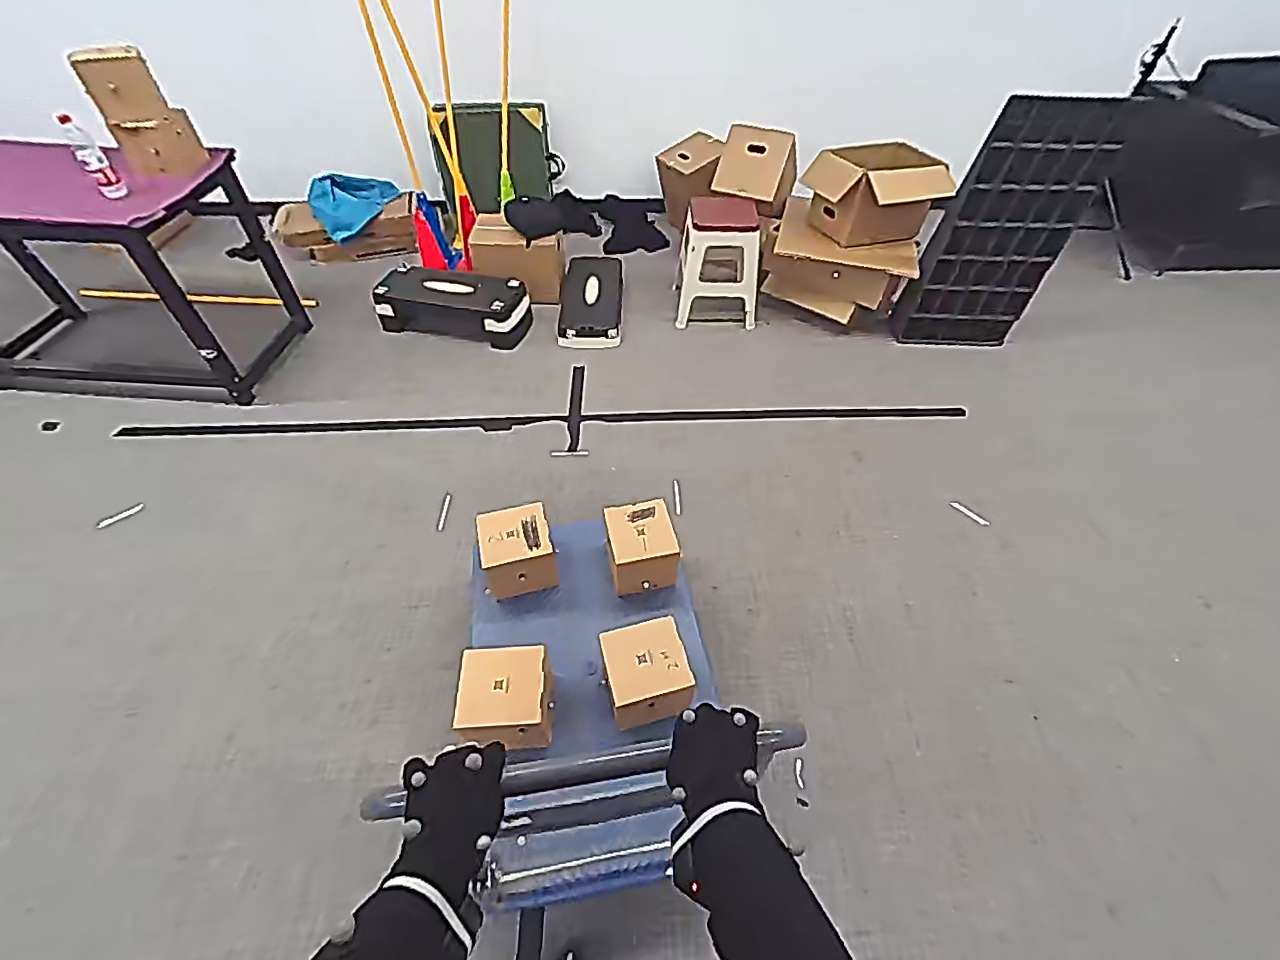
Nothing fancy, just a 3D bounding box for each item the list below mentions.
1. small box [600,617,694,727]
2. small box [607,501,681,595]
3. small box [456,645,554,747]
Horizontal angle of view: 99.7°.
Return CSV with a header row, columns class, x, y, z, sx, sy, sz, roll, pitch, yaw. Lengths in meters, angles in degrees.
class,x,y,z,sx,sy,sz,roll,pitch,yaw
small box,0.014,0.440,1.231,0.179,0.176,0.168,-11,51,-10
small box,0.005,0.183,1.451,0.168,0.176,0.179,-9,51,-9
small box,-0.288,0.480,1.194,0.179,0.176,0.168,-2,50,-4
